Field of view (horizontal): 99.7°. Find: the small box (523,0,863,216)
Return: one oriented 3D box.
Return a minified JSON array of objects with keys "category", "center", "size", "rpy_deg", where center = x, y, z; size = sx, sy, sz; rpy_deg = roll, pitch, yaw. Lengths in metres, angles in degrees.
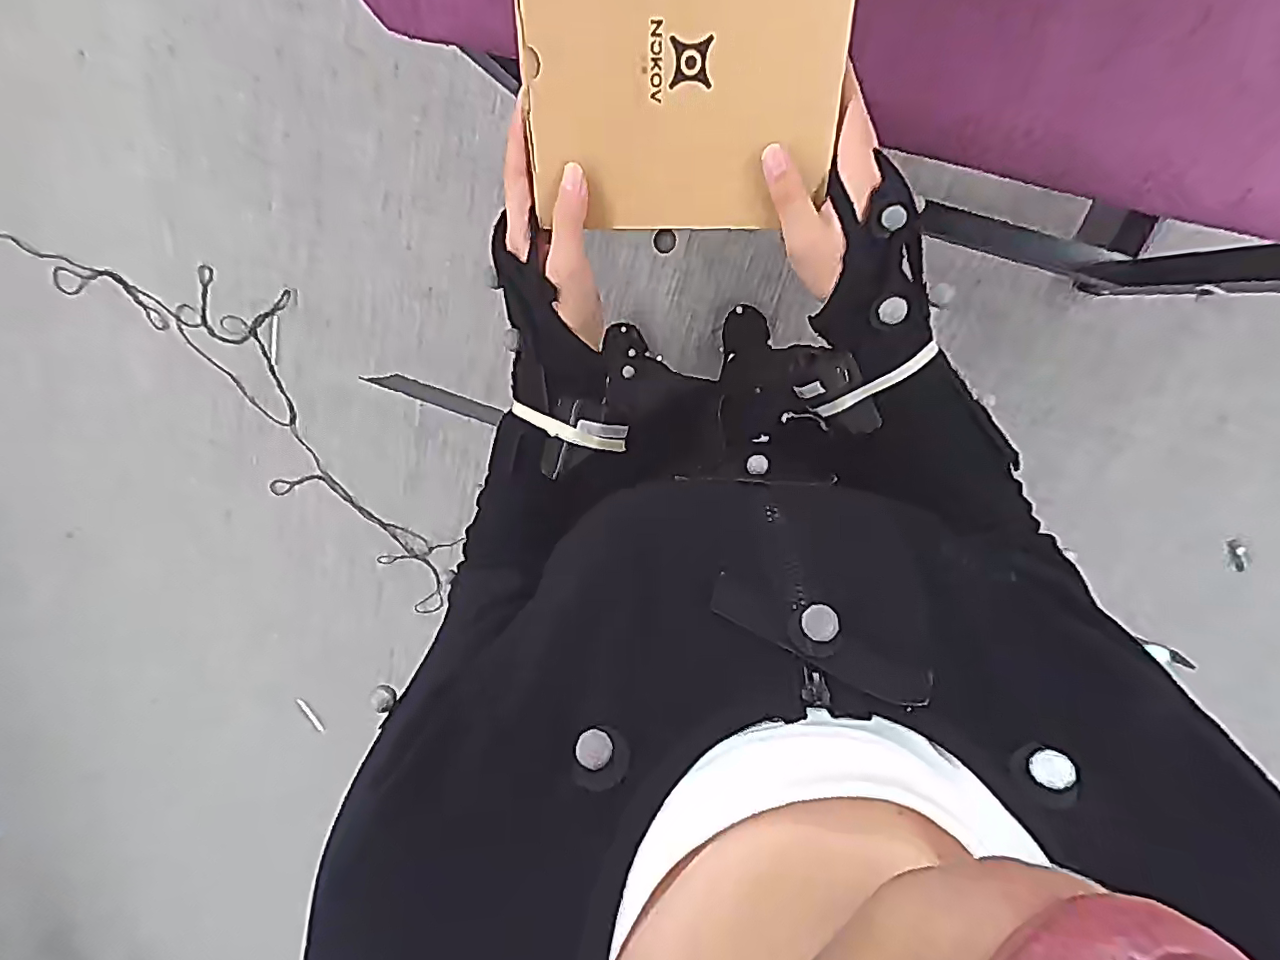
[{"category":"small box","center":[0.028,-0.268,0.351],"size":[0.179,0.176,0.168],"rpy_deg":[0,119,2]}]
